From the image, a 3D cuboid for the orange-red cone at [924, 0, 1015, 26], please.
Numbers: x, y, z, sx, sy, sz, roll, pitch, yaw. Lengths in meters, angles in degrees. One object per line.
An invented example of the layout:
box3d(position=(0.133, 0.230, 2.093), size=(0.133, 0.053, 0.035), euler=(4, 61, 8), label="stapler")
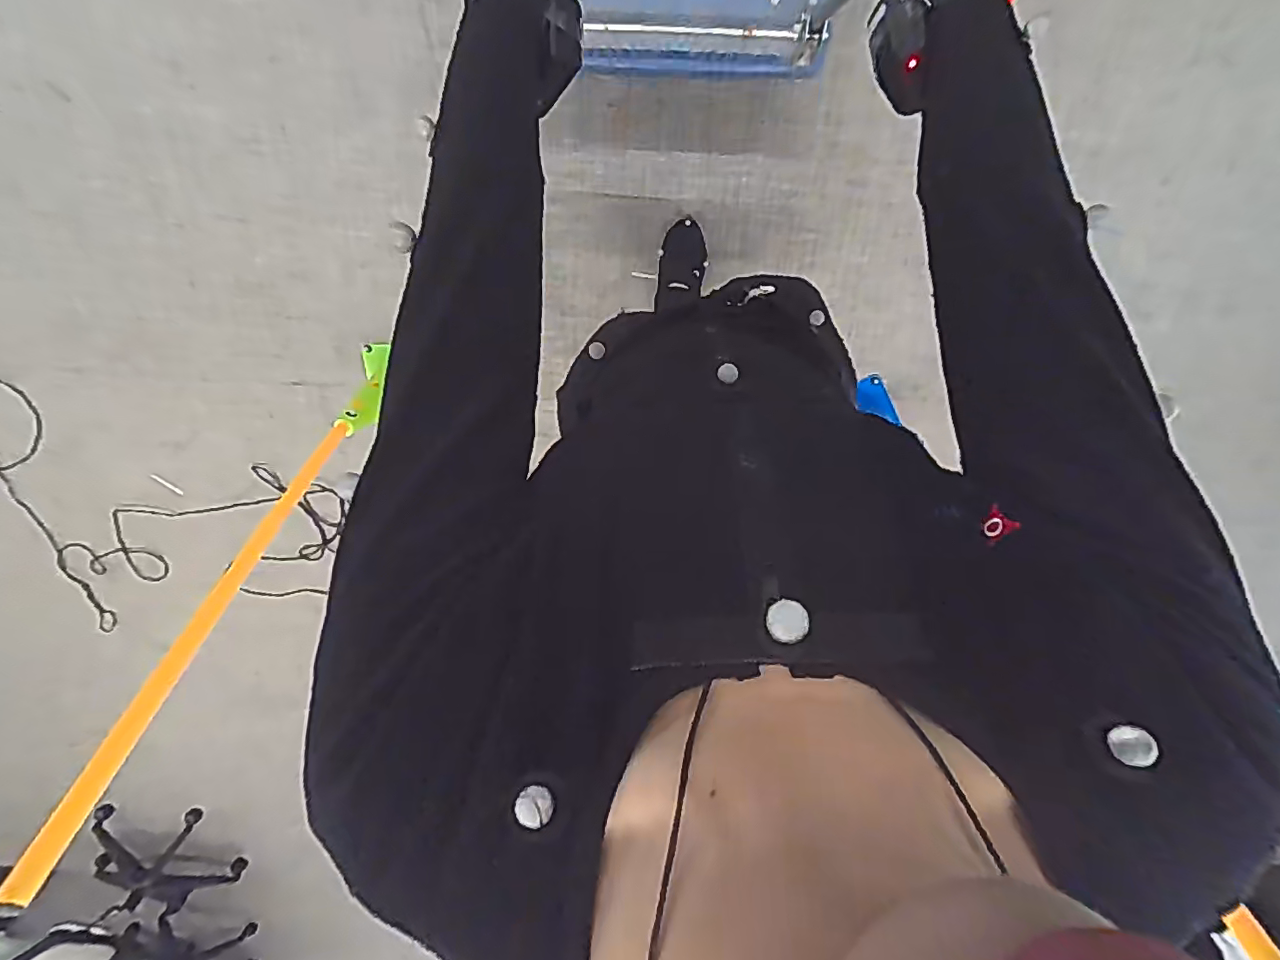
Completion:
box3d(position=(0.681, -0.968, 0.919), size=(0.198, 0.360, 0.199), euler=(14, 116, -6), label="orange-red cone")
